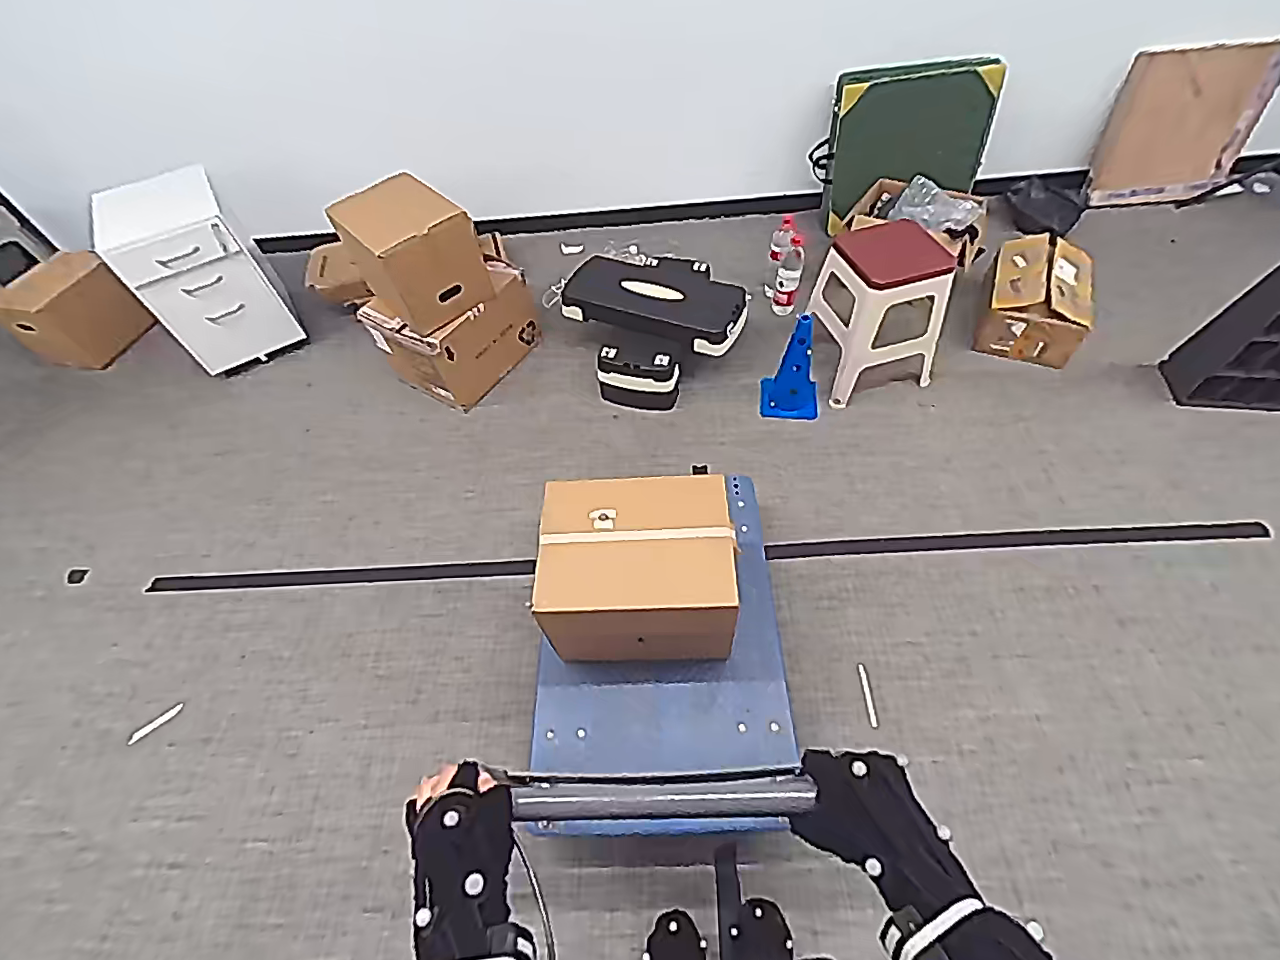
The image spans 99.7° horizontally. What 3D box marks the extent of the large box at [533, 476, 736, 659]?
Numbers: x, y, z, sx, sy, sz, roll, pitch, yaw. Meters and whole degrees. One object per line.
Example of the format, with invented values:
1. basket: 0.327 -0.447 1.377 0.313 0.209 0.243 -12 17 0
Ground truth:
1. large box: -0.001 0.213 1.252 0.408 0.320 0.320 -3 54 4
